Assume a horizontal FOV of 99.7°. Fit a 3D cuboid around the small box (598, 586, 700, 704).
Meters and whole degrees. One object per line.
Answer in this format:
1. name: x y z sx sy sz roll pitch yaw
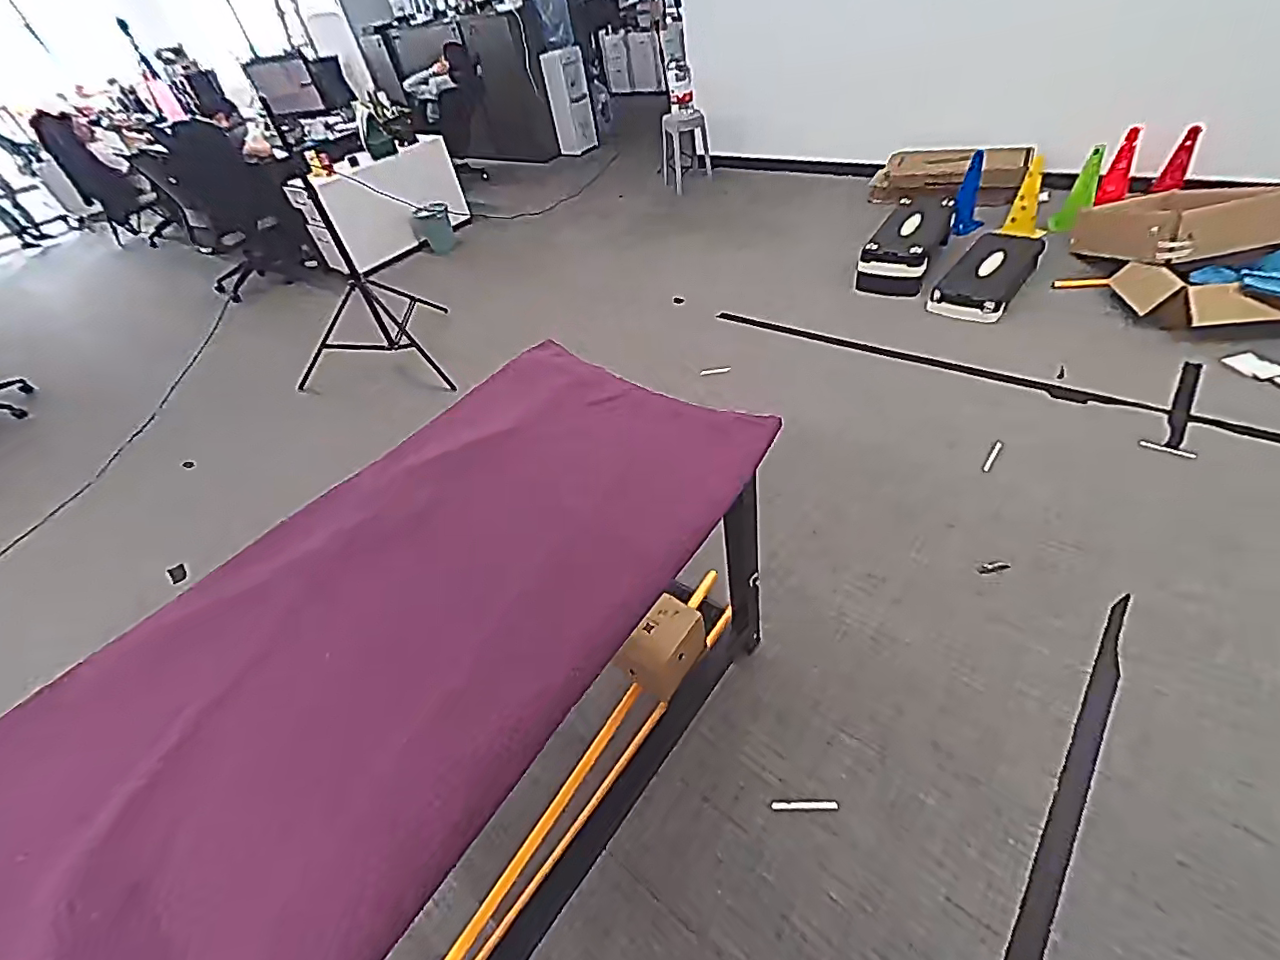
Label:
1. small box: 0.031 0.392 1.277 0.168 0.176 0.179 24 56 30
